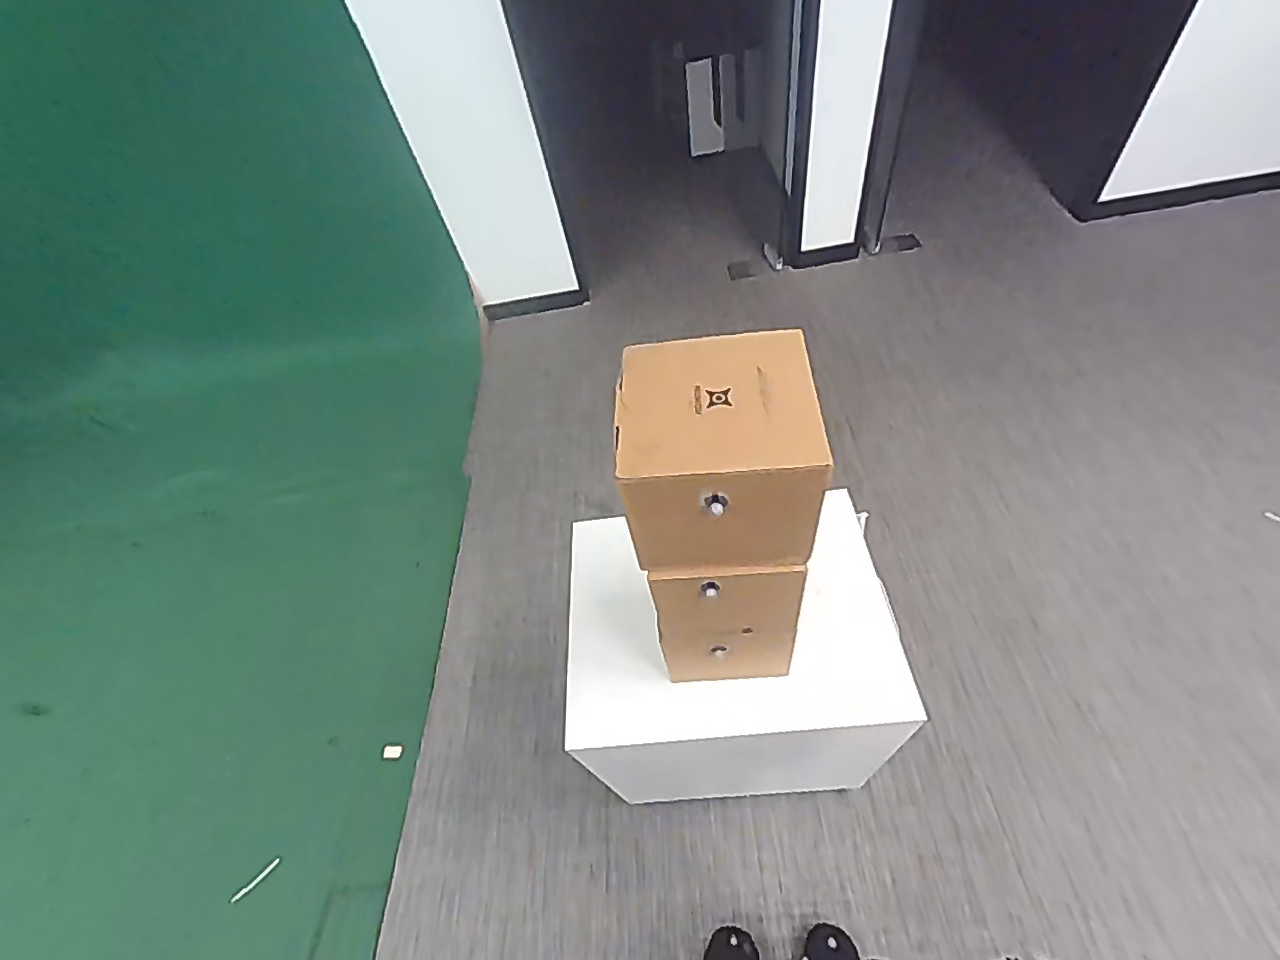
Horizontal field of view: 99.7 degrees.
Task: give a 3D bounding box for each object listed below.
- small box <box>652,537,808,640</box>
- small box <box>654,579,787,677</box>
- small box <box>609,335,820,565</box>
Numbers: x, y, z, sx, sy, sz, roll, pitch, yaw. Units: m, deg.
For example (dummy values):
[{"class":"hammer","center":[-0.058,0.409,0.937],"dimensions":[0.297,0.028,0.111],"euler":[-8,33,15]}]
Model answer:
[{"class":"small box","center":[0.100,0.081,0.676],"dimensions":[0.168,0.176,0.179],"euler":[-6,52,5]},{"class":"small box","center":[0.117,0.183,0.800],"dimensions":[0.179,0.176,0.168],"euler":[-5,51,6]},{"class":"small box","center":[0.074,-0.023,0.551],"dimensions":[0.179,0.176,0.168],"euler":[-3,54,7]}]
